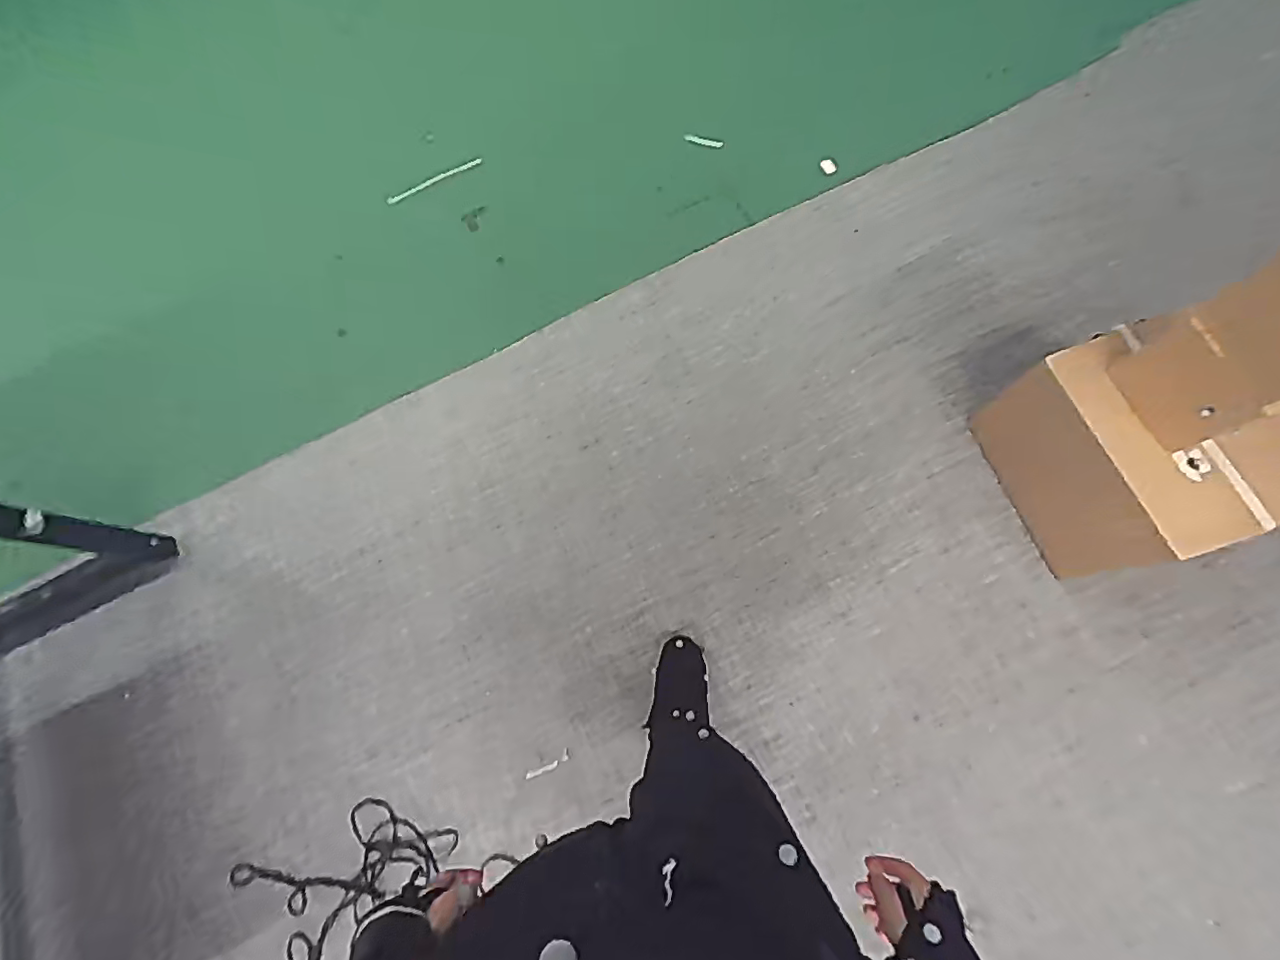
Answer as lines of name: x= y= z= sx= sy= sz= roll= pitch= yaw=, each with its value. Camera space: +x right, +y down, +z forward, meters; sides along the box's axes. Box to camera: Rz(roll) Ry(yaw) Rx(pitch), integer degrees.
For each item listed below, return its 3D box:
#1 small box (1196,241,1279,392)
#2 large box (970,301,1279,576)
small box: x=0.914 y=-0.232 z=0.704 sx=0.168 sy=0.176 sz=0.179 roll=-16 pitch=71 yaw=0
large box: x=0.963 y=-0.062 z=1.073 sx=0.320 sy=0.320 sz=0.408 roll=-21 pitch=73 yaw=1
